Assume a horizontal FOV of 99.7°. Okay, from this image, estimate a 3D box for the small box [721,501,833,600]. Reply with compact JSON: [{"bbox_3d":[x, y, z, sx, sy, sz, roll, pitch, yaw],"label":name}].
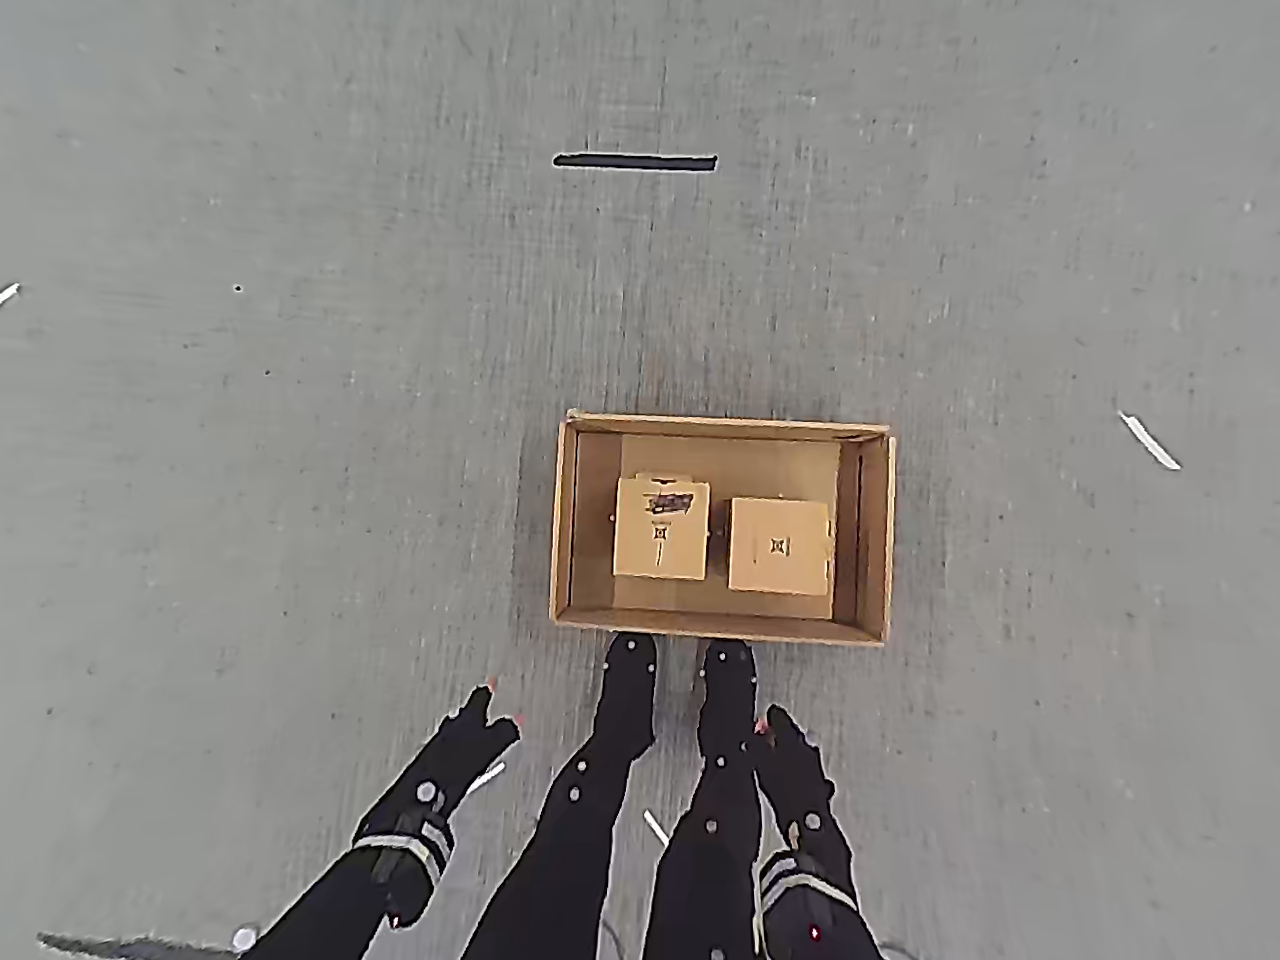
[{"bbox_3d":[0.254,0.128,1.035,0.179,0.176,0.168,3,87,5],"label":"small box"}]
